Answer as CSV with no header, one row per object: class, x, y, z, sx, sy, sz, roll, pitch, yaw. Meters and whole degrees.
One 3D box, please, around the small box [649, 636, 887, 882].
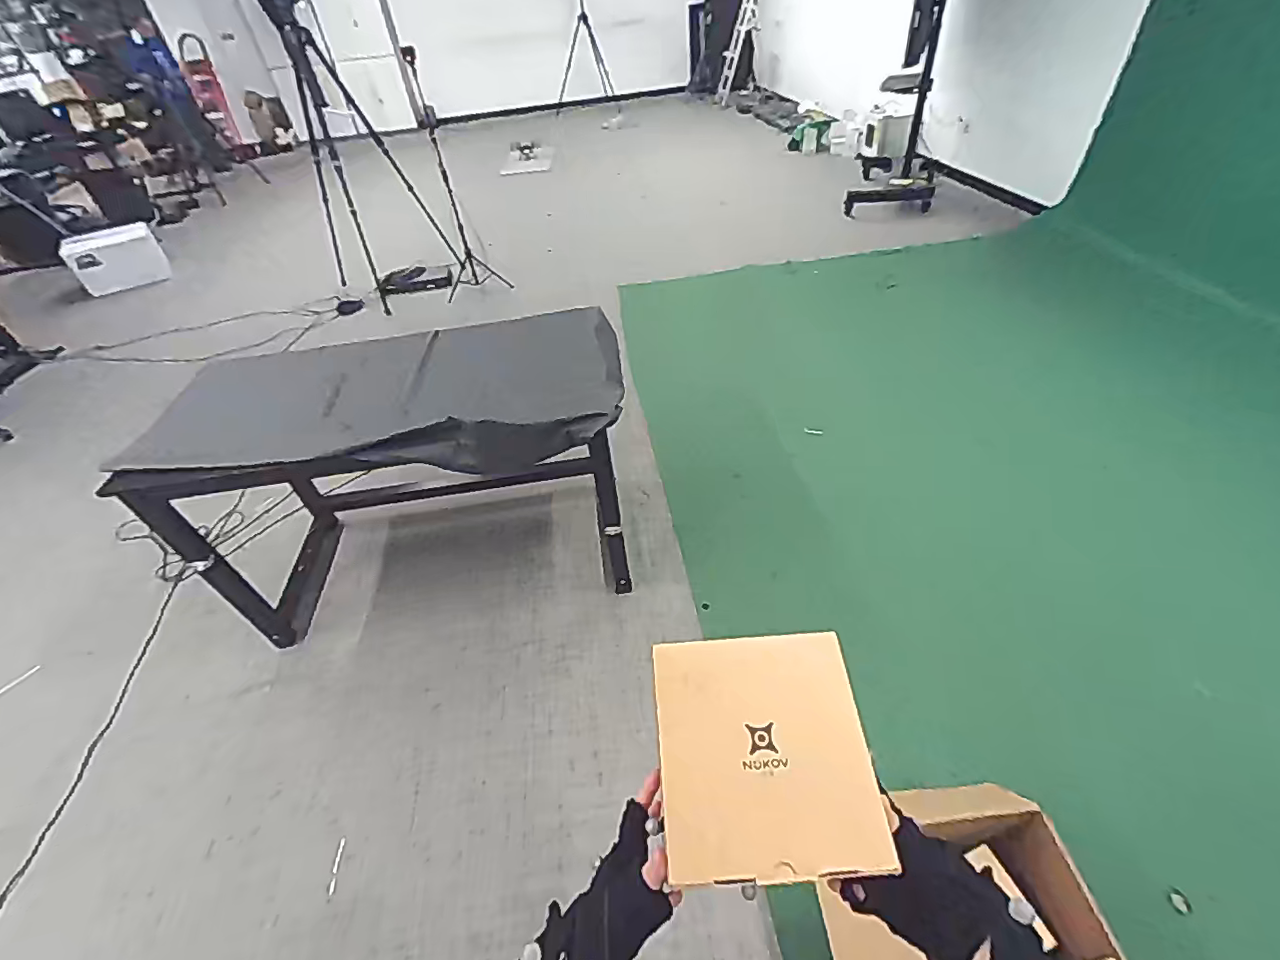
small box,0.095,0.261,0.504,0.168,0.176,0.179,-3,55,-1
